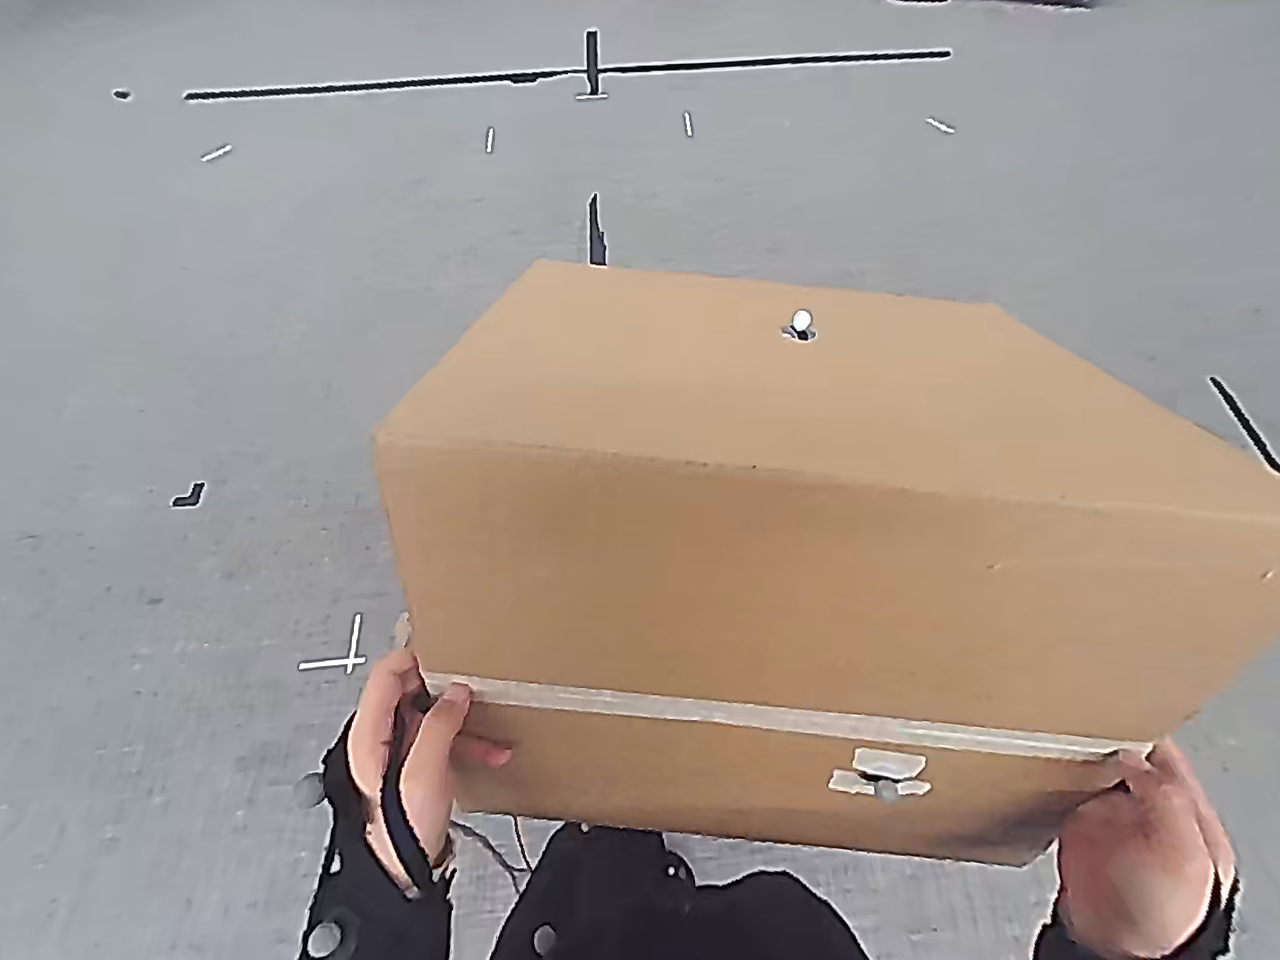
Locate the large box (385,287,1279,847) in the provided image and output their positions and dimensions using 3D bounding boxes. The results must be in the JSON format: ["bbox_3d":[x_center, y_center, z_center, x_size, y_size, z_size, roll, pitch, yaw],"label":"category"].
[{"bbox_3d":[0.083,0.046,0.436,0.408,0.320,0.320,4,35,0],"label":"large box"}]
